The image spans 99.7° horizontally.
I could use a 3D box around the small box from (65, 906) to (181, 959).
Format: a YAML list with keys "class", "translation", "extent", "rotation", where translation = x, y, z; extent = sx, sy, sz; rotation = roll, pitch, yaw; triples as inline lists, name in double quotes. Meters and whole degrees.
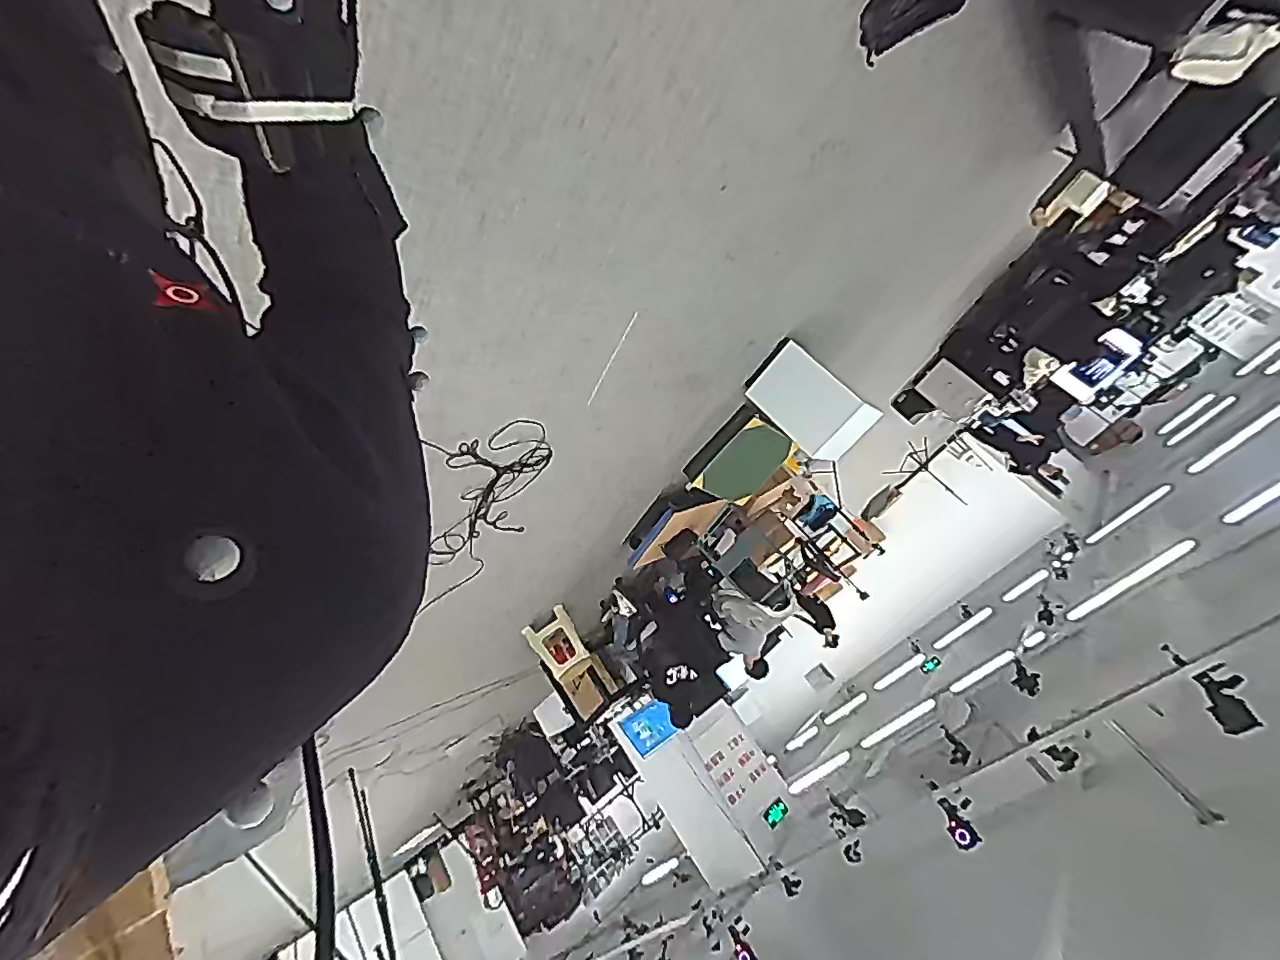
- class: "small box"
  translation: [-1.132, 1.091, 1.189]
  extent: [0.179, 0.176, 0.168]
  rotation: [-15, 146, -43]

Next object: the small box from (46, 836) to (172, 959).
- class: "small box"
  translation: [-1.217, 0.964, 1.246]
  extent: [0.168, 0.176, 0.179]
  rotation: [-19, 149, -40]
